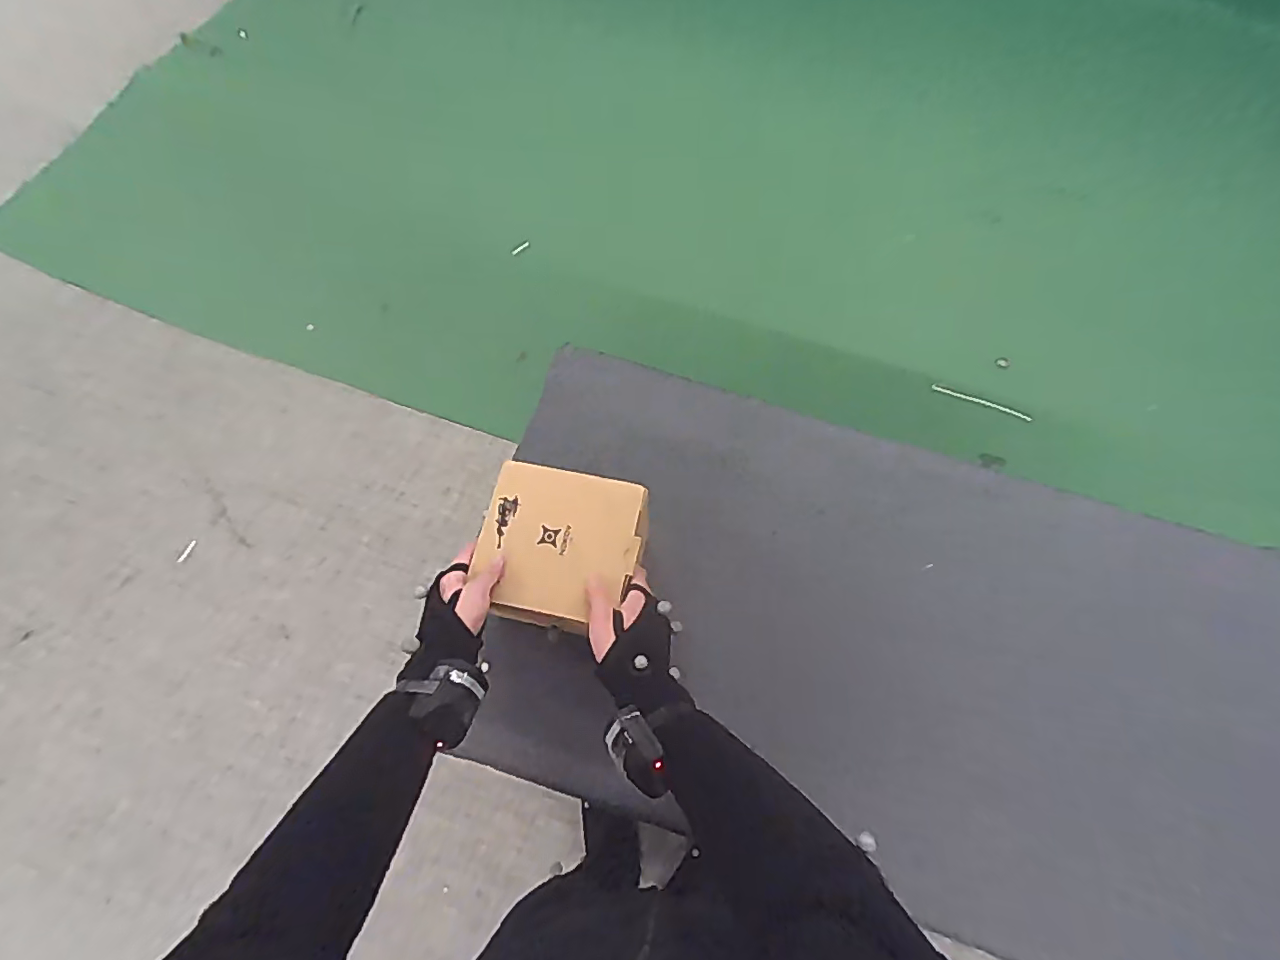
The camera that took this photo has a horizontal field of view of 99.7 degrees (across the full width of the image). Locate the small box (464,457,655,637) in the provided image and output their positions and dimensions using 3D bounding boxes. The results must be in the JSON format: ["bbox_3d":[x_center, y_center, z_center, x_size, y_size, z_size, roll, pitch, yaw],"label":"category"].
[{"bbox_3d":[-0.087,0.092,0.669,0.179,0.176,0.168,12,70,4],"label":"small box"}]
